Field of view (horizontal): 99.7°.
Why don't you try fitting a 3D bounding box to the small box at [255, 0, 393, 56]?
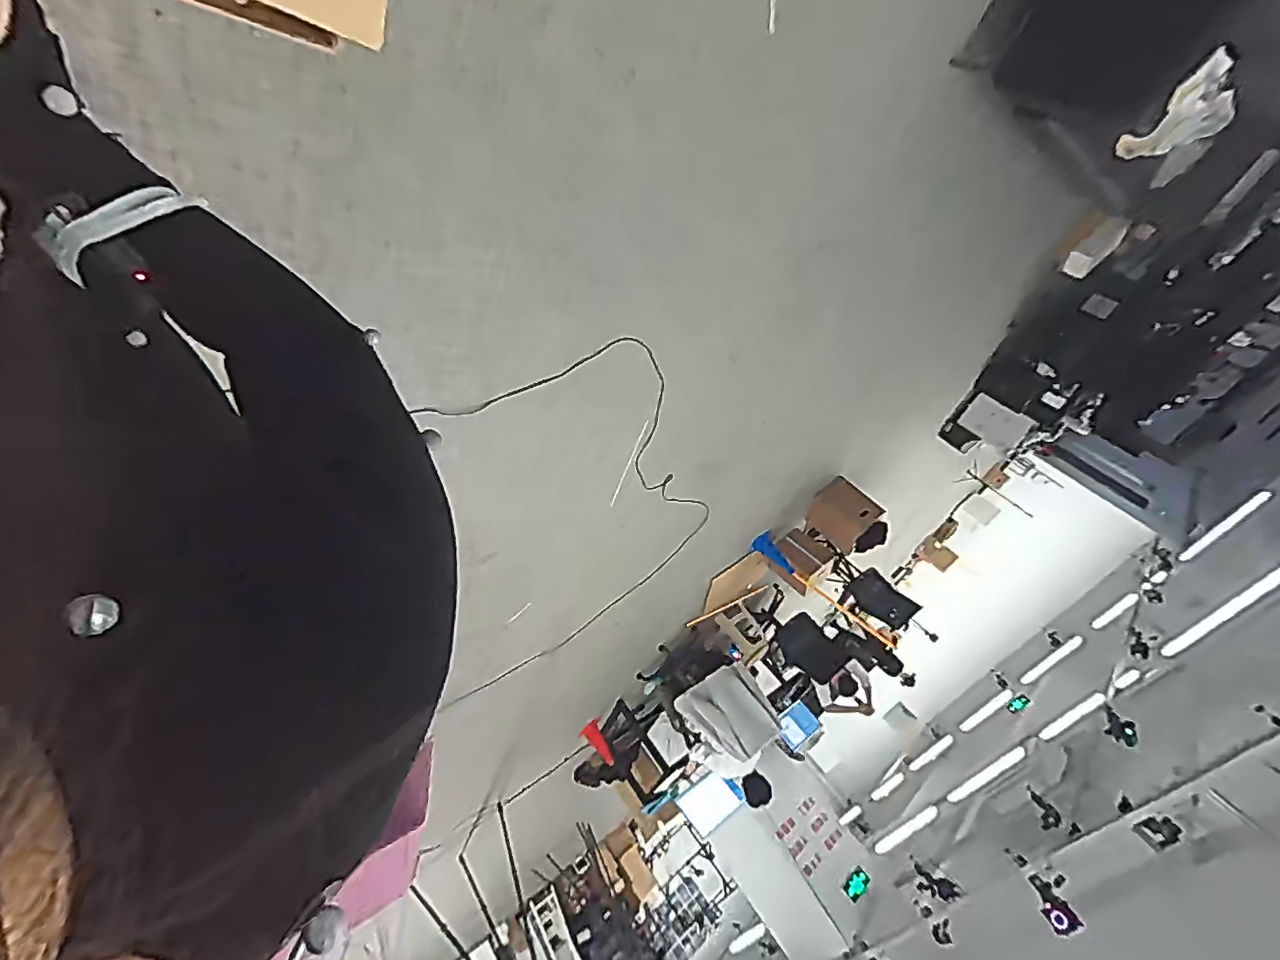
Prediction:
[{"bbox_3d":[-0.337,-0.550,0.504,0.168,0.176,0.179,-8,135,-44],"label":"small box"}]
